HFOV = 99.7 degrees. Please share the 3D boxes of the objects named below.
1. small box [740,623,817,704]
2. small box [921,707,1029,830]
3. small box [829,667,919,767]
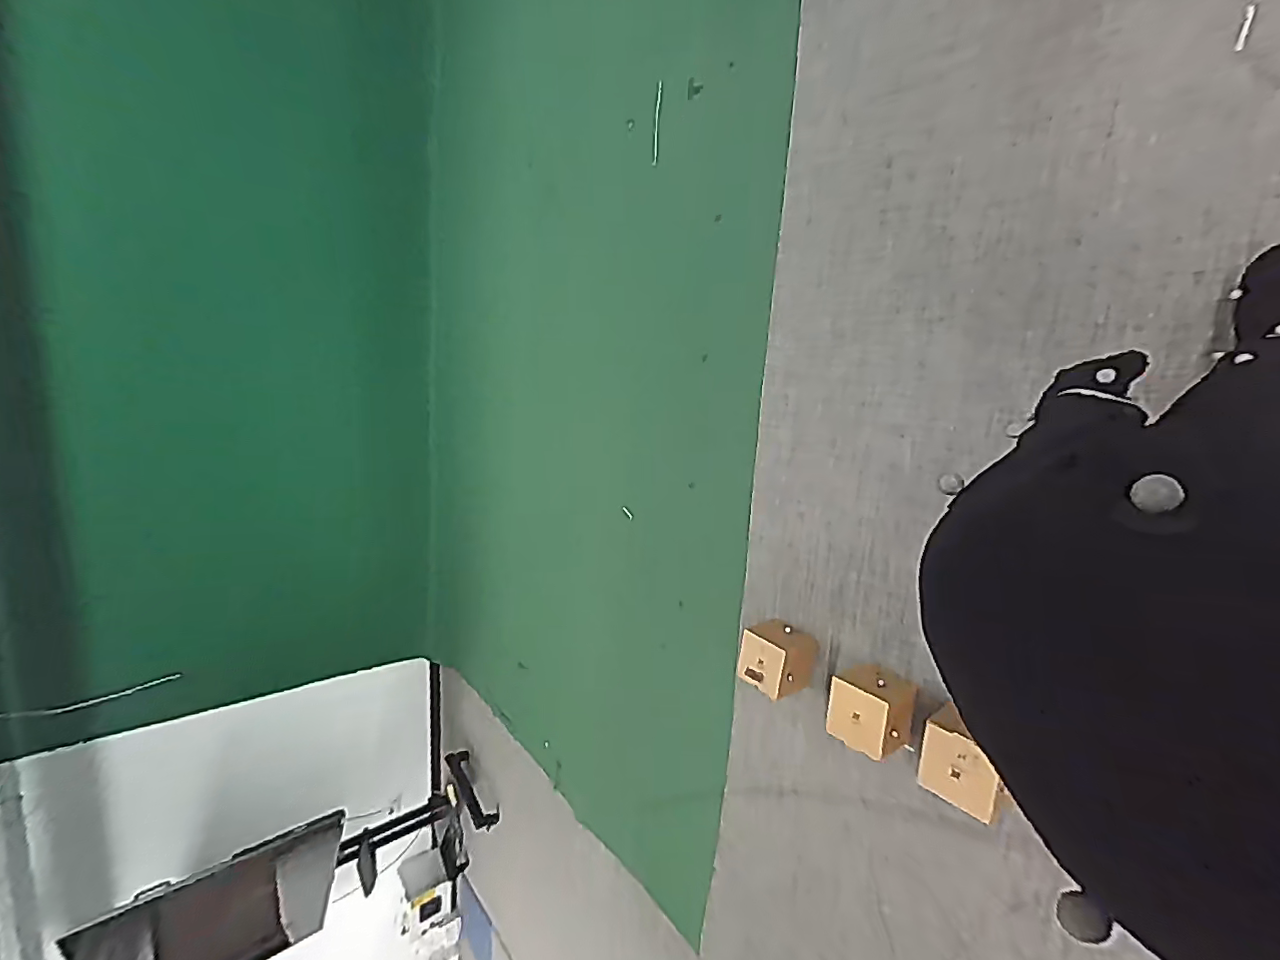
[{"bbox_3d":[0.451,0.588,1.755,0.168,0.176,0.179,20,106,48],"label":"small box"},{"bbox_3d":[0.814,0.688,1.312,0.168,0.176,0.179,15,104,48],"label":"small box"},{"bbox_3d":[0.656,0.649,1.509,0.168,0.176,0.179,14,104,50],"label":"small box"}]
